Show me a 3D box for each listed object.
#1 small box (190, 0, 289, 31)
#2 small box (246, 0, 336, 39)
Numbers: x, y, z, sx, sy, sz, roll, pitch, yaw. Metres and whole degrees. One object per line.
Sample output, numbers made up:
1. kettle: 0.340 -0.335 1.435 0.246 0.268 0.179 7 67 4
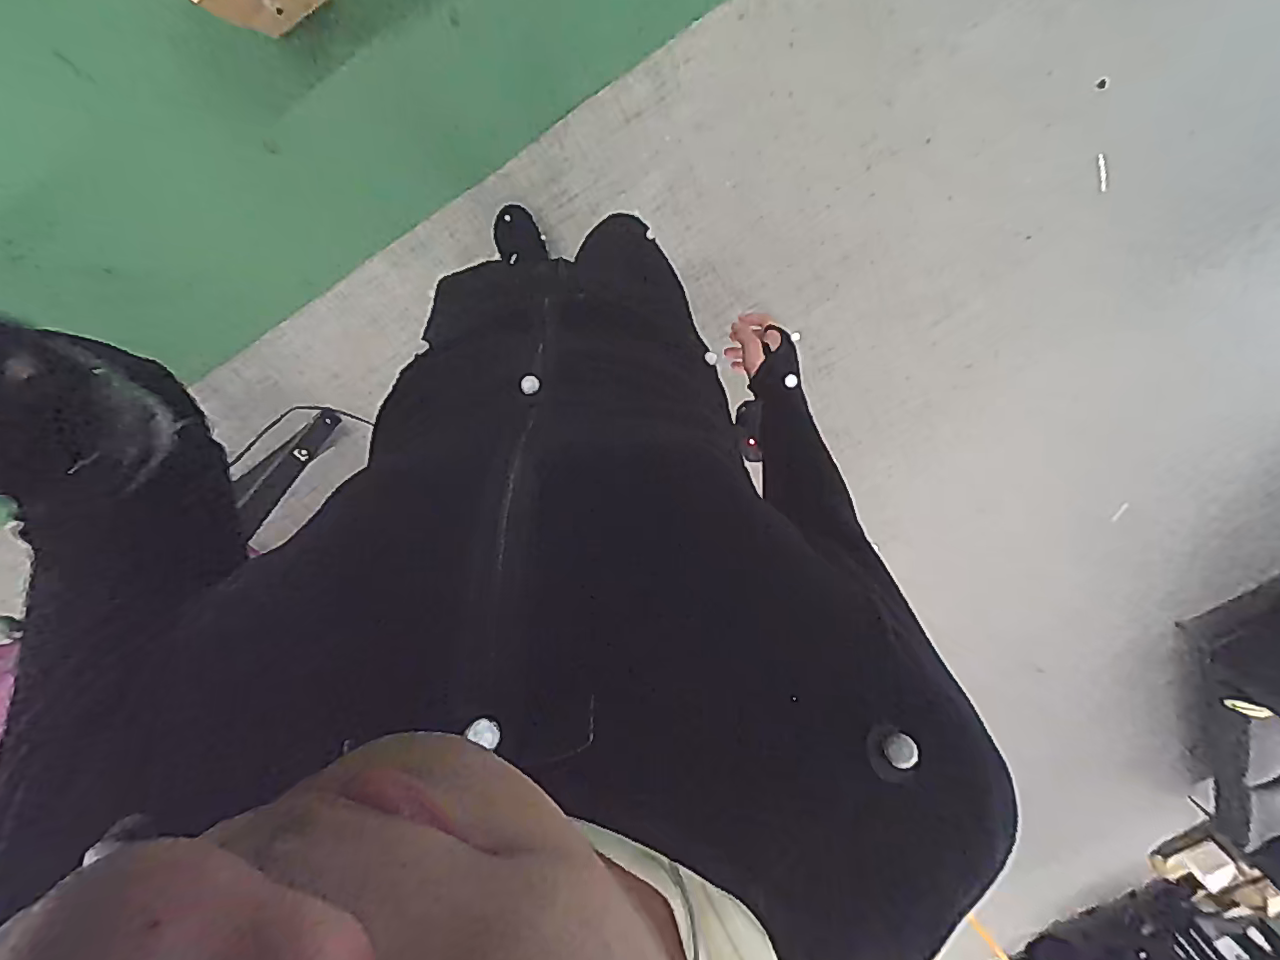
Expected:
1. small box: -0.692 -0.886 0.877 0.168 0.176 0.179 -33 119 8
2. small box: -0.715 -0.973 1.014 0.168 0.176 0.179 -31 119 7
